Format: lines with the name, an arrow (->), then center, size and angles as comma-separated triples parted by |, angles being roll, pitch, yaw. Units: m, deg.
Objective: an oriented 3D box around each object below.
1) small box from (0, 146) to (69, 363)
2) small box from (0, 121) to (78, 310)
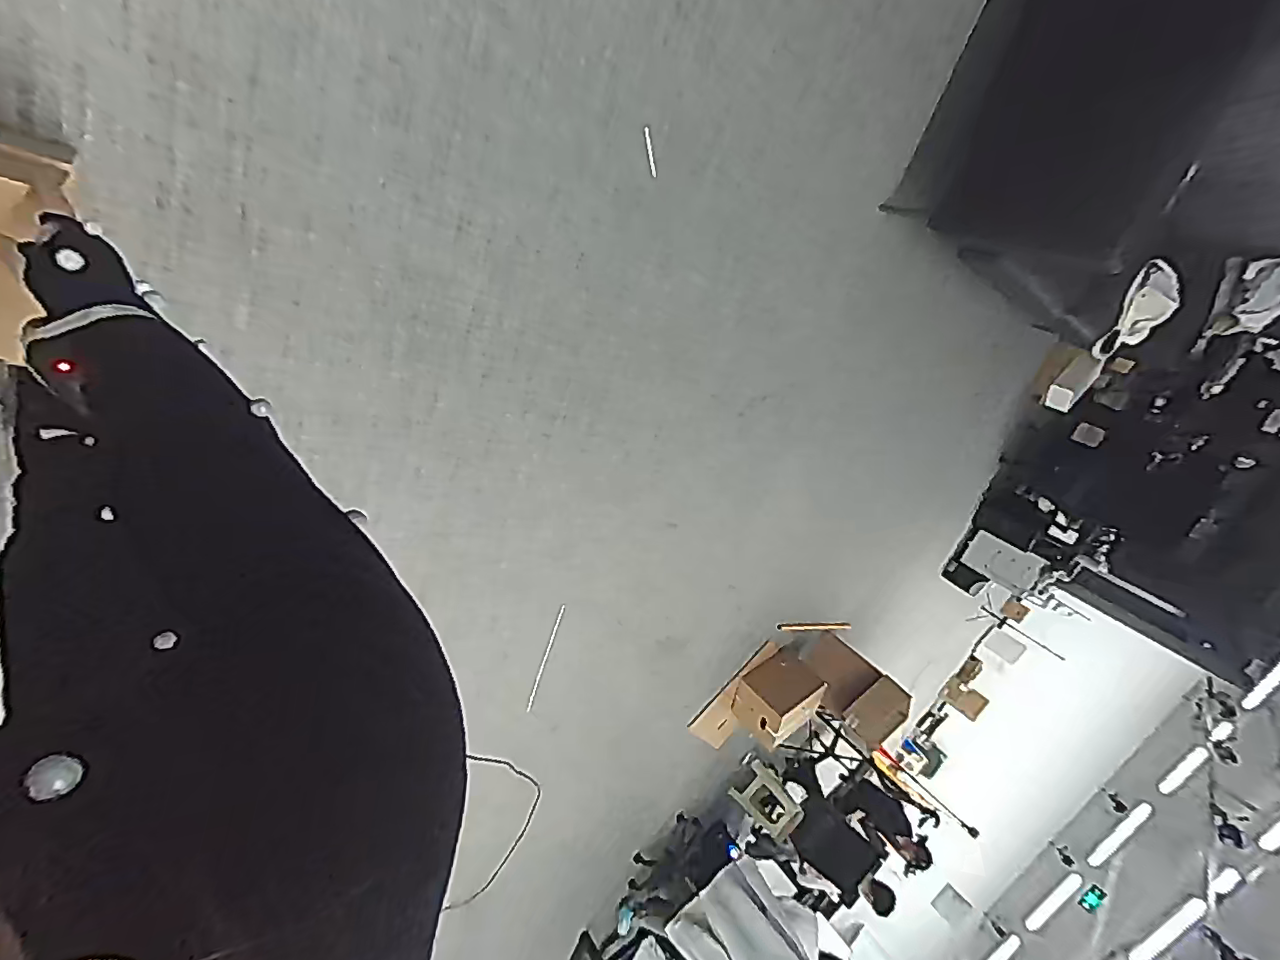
small box -> -0.675, -0.237, 0.518 | 0.168, 0.176, 0.179 | 5, 115, -45
small box -> -0.772, -0.321, 0.622 | 0.168, 0.176, 0.179 | 3, 117, -45
